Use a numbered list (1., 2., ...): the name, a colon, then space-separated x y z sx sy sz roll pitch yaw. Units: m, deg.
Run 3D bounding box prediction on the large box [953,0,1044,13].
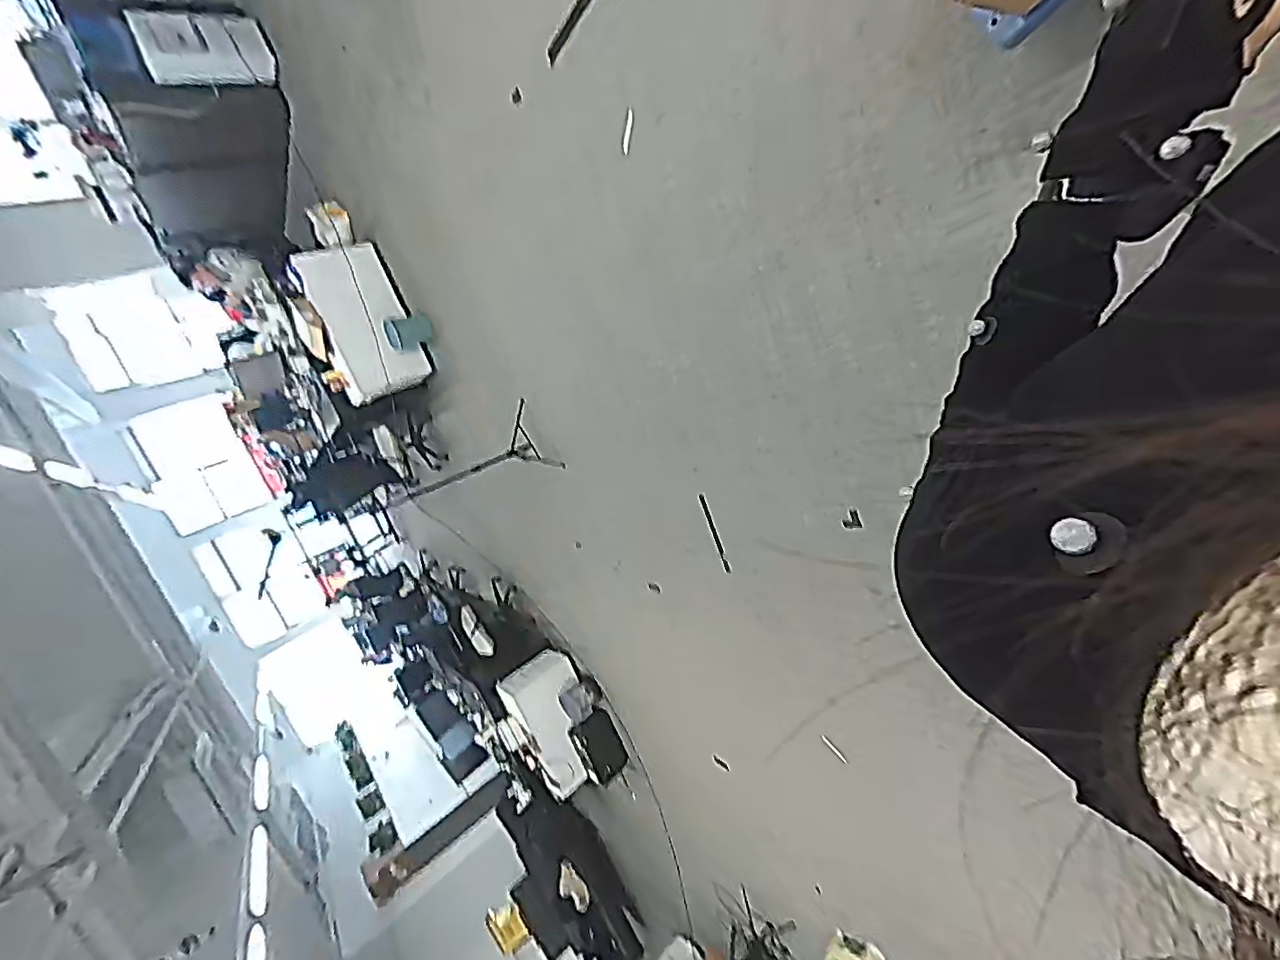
1. large box: 0.582 -0.913 0.674 0.408 0.320 0.320 -25 93 57
